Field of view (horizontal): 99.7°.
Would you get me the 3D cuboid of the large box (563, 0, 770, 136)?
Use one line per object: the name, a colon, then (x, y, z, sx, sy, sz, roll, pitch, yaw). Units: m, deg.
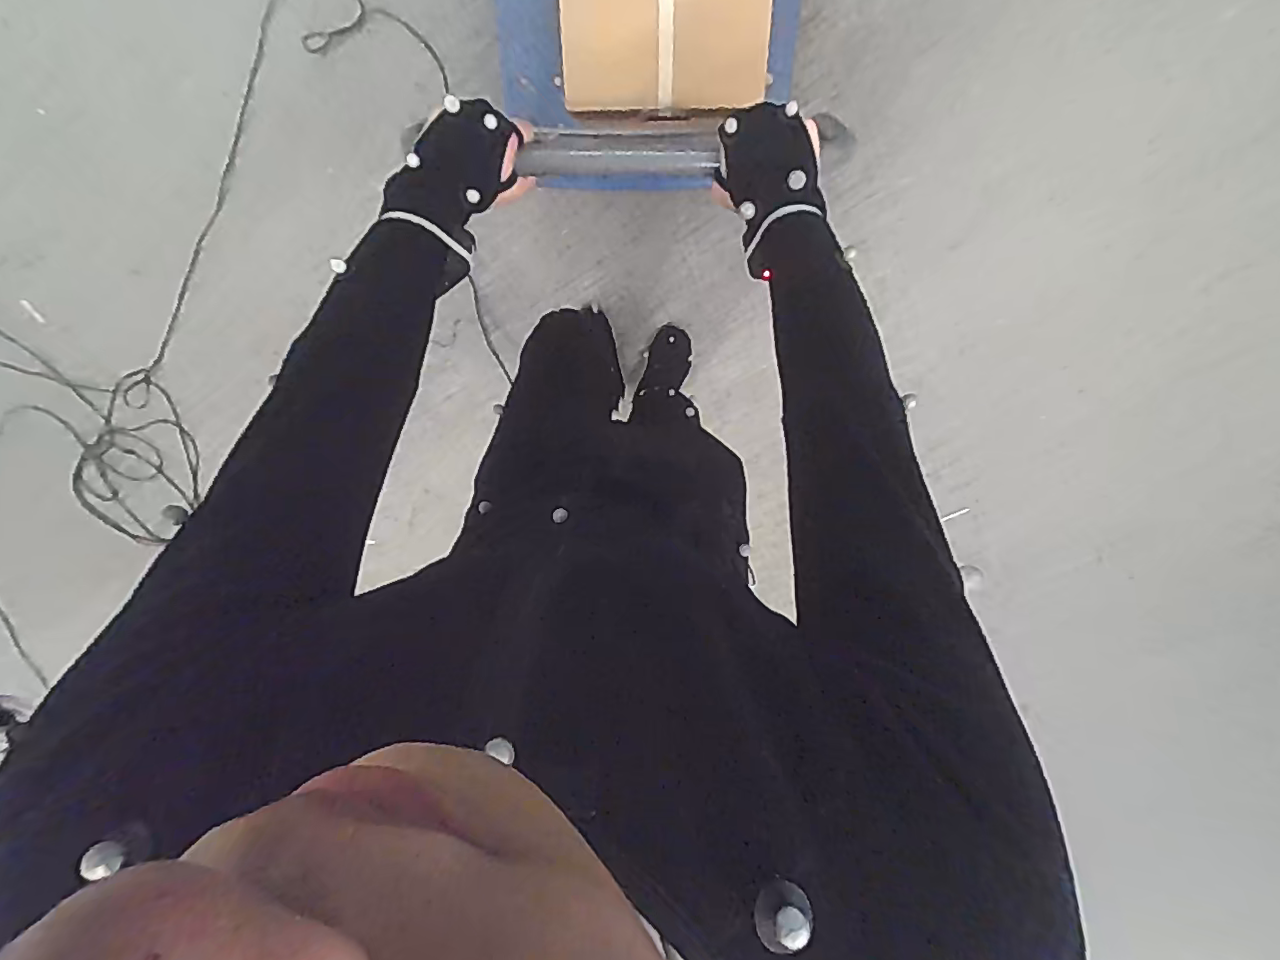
large box: (0.047, -0.837, 0.912, 0.320, 0.320, 0.408, 1, 116, 2)
